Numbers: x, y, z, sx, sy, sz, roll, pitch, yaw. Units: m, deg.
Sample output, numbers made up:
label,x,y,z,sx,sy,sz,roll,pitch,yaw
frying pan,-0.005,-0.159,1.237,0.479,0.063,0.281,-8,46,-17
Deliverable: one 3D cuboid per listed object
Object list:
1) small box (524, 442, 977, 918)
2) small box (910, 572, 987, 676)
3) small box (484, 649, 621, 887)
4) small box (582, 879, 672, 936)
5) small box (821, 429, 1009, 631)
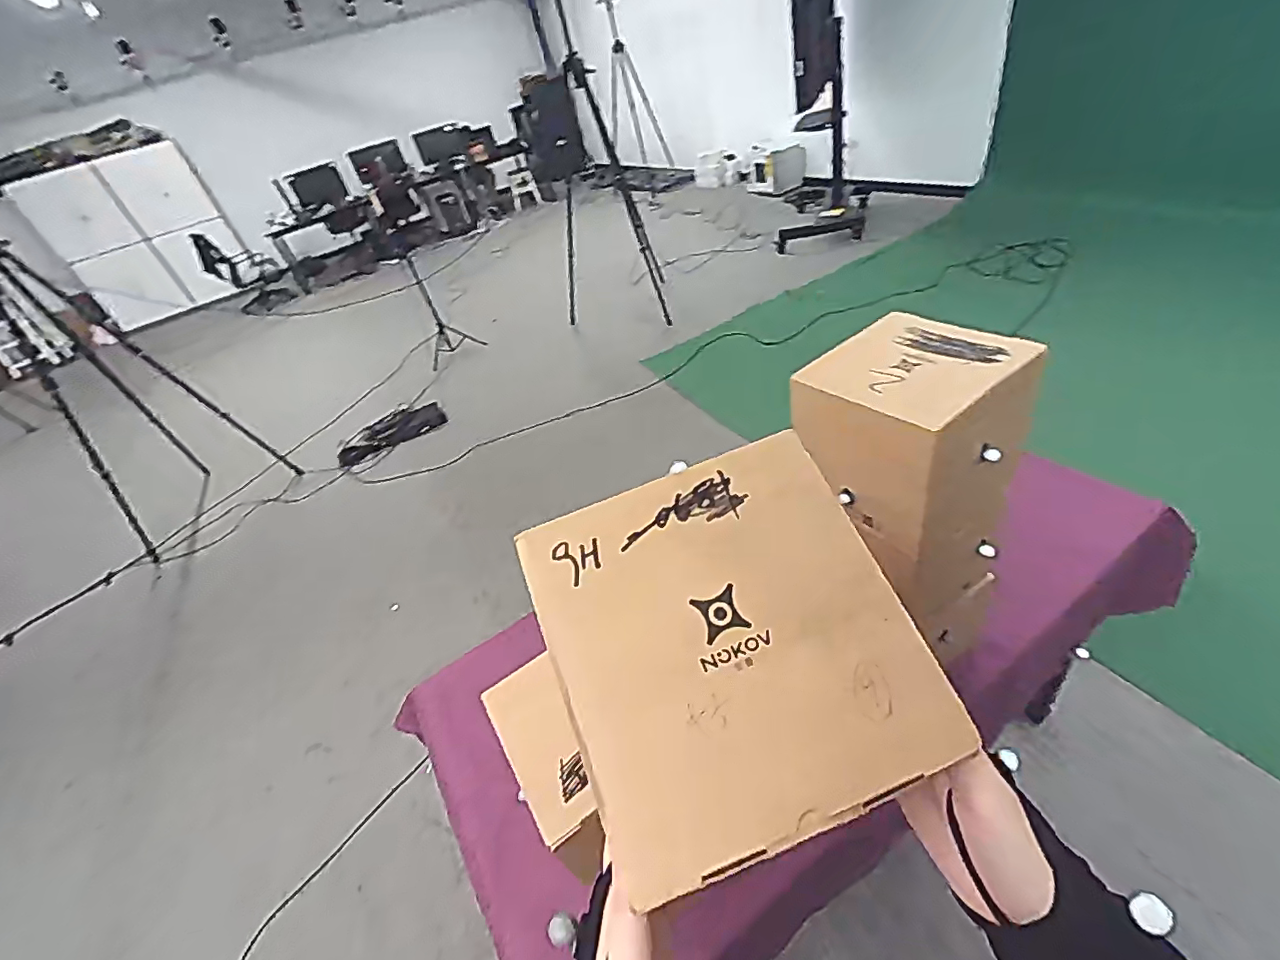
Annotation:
label,x,y,z,sx,sy,sz,roll,pitch,yaw
small box,0.048,0.109,0.332,0.168,0.176,0.179,-20,67,-6
small box,0.366,0.193,0.795,0.179,0.176,0.168,-30,41,-16
small box,-0.033,0.282,0.568,0.168,0.176,0.179,-30,39,-18
small box,0.004,0.408,0.668,0.179,0.176,0.168,-30,40,-18
small box,0.327,0.067,0.698,0.168,0.176,0.179,-31,40,-18
